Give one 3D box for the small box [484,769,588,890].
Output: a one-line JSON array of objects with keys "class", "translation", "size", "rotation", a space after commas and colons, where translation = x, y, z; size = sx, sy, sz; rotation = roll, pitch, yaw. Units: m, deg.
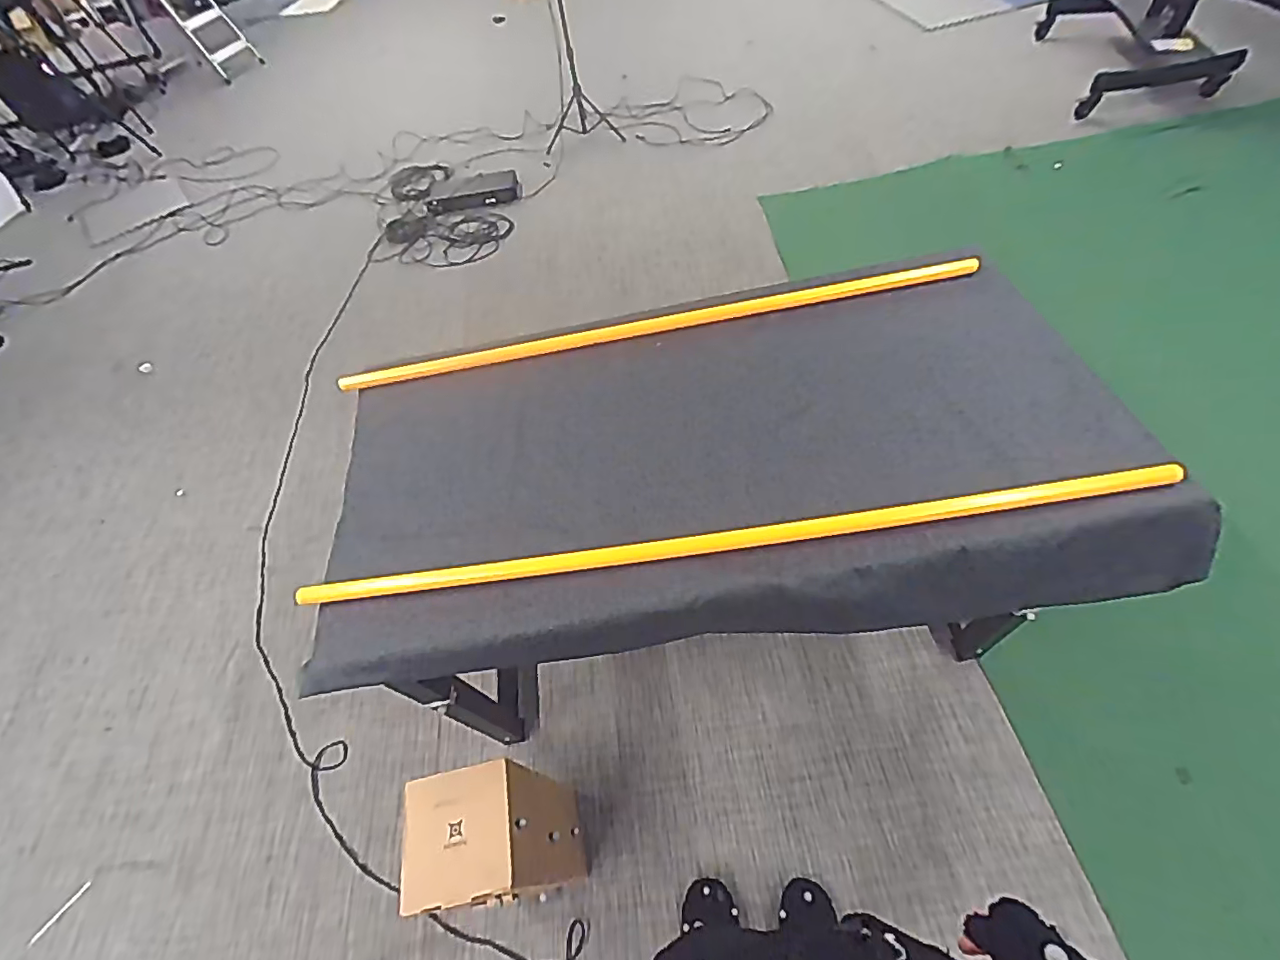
[{"class": "small box", "translation": [-0.219, 0.743, 1.152], "size": [0.168, 0.176, 0.179], "rotation": [-17, 56, -2]}]
